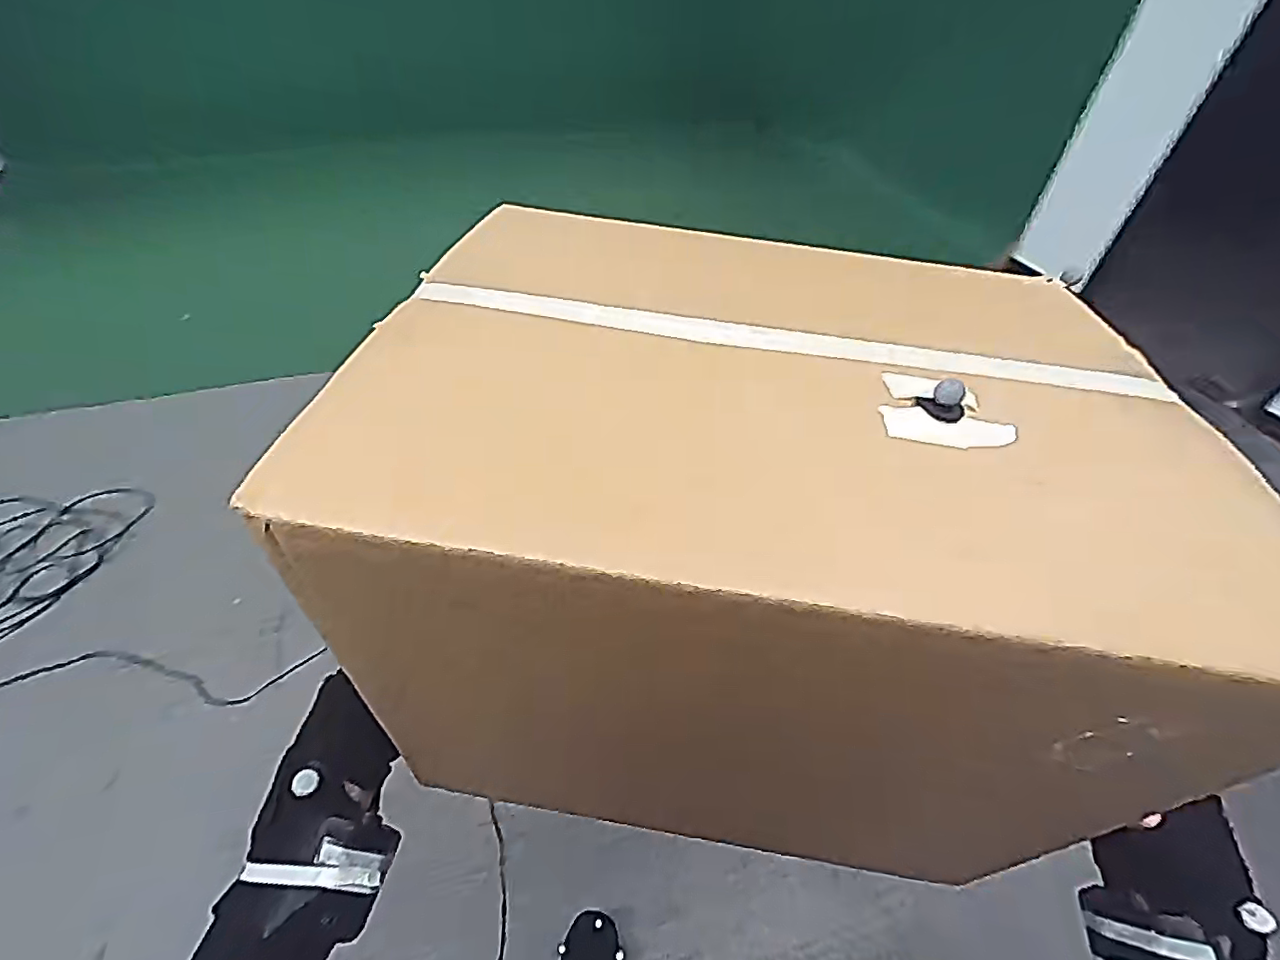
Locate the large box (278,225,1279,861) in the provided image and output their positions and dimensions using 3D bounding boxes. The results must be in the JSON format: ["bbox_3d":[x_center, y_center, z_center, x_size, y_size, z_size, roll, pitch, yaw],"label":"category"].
[{"bbox_3d":[0.063,0.043,0.404,0.408,0.320,0.320,9,45,2],"label":"large box"}]
